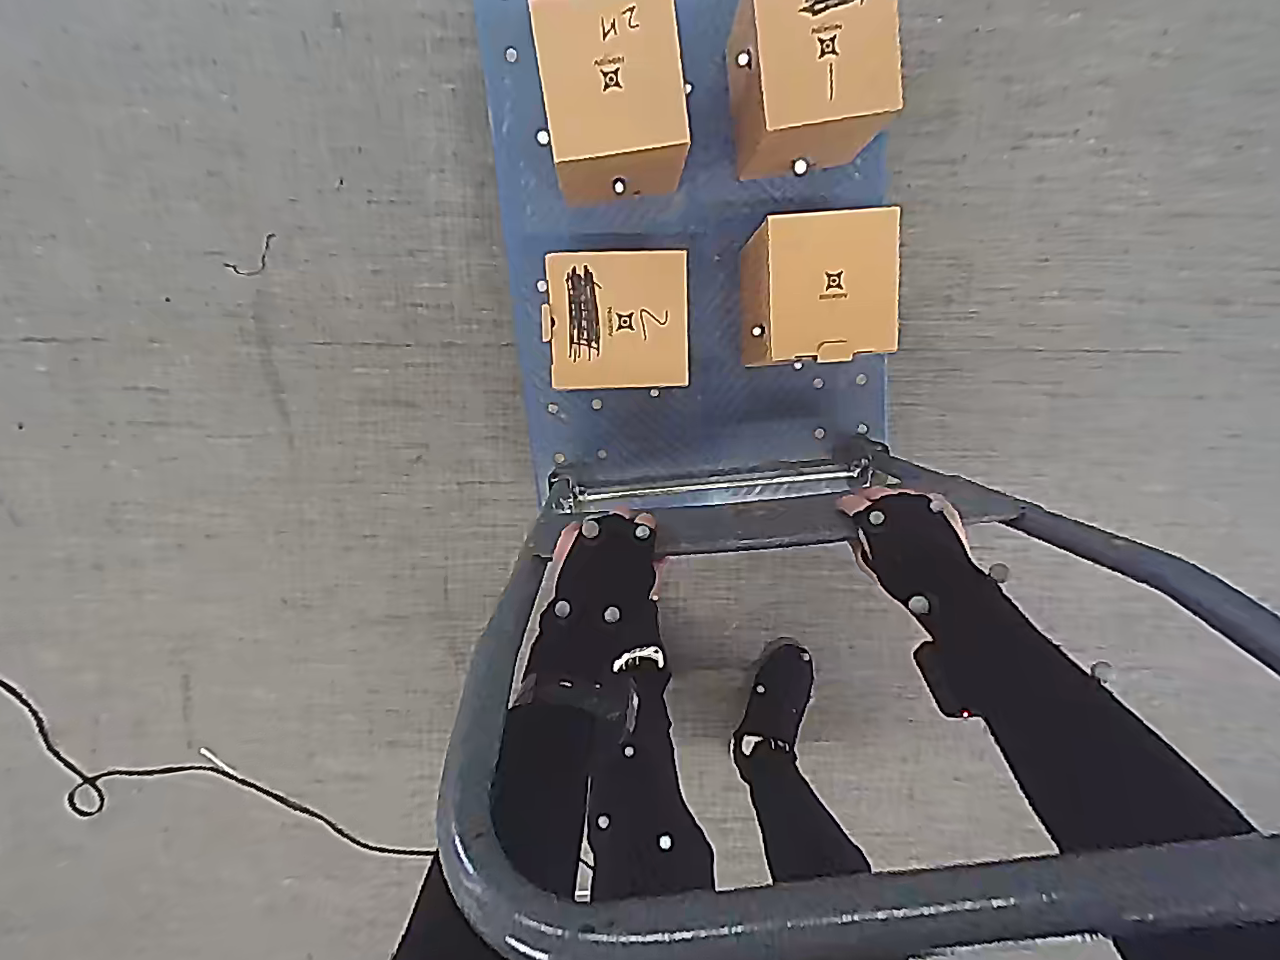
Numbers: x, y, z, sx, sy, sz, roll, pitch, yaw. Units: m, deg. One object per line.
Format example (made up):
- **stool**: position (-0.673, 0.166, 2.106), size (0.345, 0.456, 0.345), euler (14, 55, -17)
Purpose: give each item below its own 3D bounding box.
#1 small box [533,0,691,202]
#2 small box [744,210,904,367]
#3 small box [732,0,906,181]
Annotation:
- **small box**: position (-0.031, -0.480, 0.701), size (0.168, 0.176, 0.179), euler (-8, 100, -1)
- **small box**: position (0.242, -0.253, 0.749), size (0.168, 0.176, 0.179), euler (-4, 101, -1)
- **small box**: position (0.220, -0.518, 0.699), size (0.168, 0.176, 0.179), euler (-8, 101, 1)
